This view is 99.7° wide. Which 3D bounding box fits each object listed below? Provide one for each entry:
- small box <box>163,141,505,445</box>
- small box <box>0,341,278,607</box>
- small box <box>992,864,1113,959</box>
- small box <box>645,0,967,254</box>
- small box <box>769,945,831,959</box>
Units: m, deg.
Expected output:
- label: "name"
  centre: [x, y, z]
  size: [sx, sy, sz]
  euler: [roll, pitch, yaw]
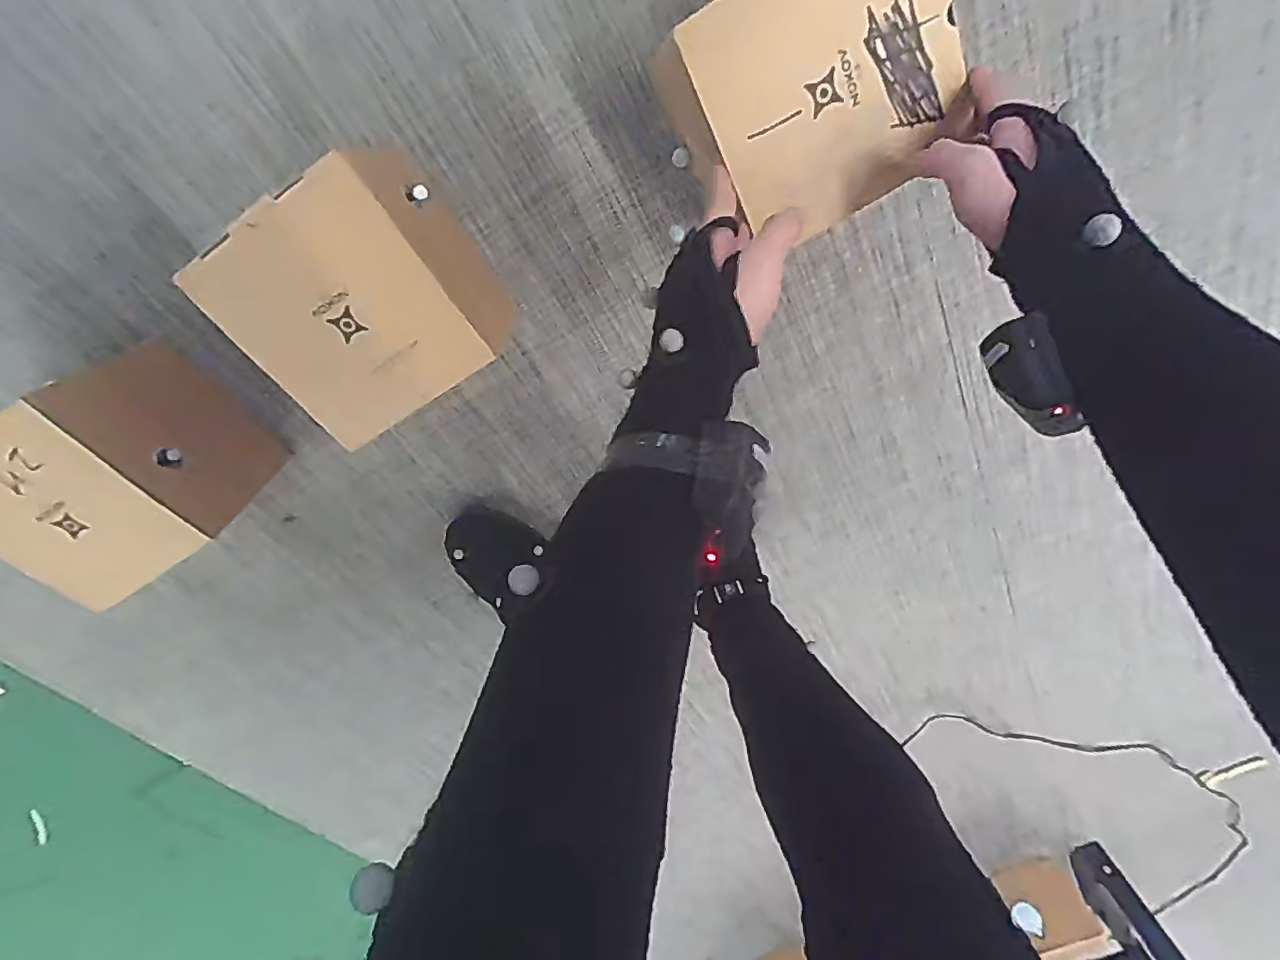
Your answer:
- label: "small box"
  centre: [-0.245, -0.169, 0.487]
  size: [0.168, 0.176, 0.179]
  euler: [-28, 120, 12]
- label: "small box"
  centre: [-0.526, -0.012, 0.552]
  size: [0.168, 0.176, 0.179]
  euler: [-29, 119, 11]
- label: "small box"
  centre: [1.052, 1.123, 1.386]
  size: [0.179, 0.176, 0.168]
  euler: [-29, 119, 12]
- label: "small box"
  centre: [0.118, -0.312, 0.434]
  size: [0.179, 0.176, 0.168]
  euler: [-26, 119, 11]
- label: "small box"
  centre: [0.476, 1.453, 1.522]
  size: [0.179, 0.176, 0.168]
  euler: [-26, 119, 9]
